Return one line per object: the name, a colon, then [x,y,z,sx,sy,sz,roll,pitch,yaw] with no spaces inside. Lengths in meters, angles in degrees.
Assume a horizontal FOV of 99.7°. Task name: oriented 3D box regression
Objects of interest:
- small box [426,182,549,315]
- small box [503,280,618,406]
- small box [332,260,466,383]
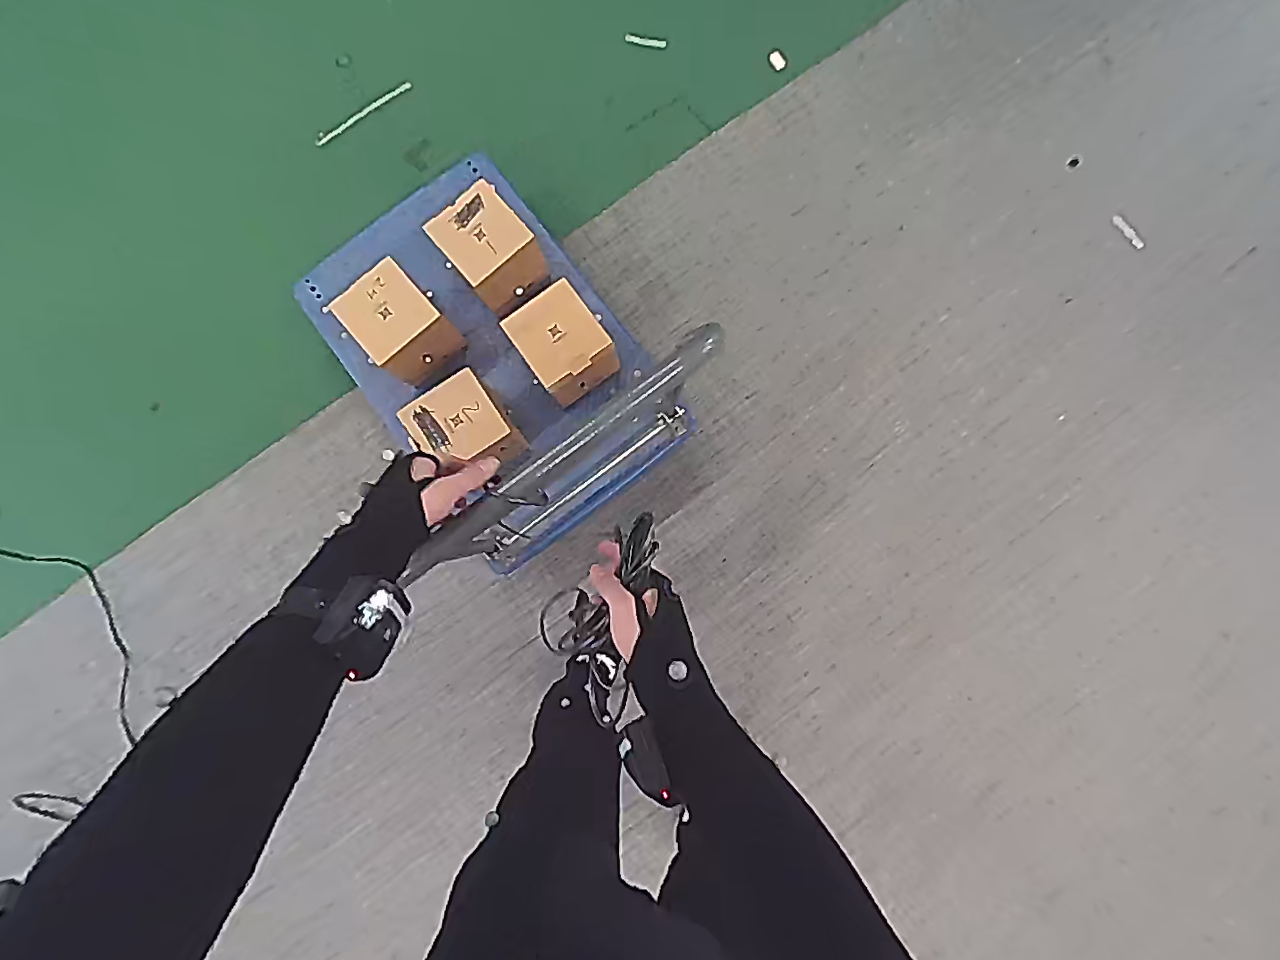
small box: [-0.327,-0.500,1.195,0.168,0.176,0.179,-41,86,-1]
small box: [-0.164,-0.286,1.170,0.168,0.176,0.179,-36,85,-2]
small box: [-0.516,-0.333,1.186,0.168,0.176,0.179,-41,85,-3]
